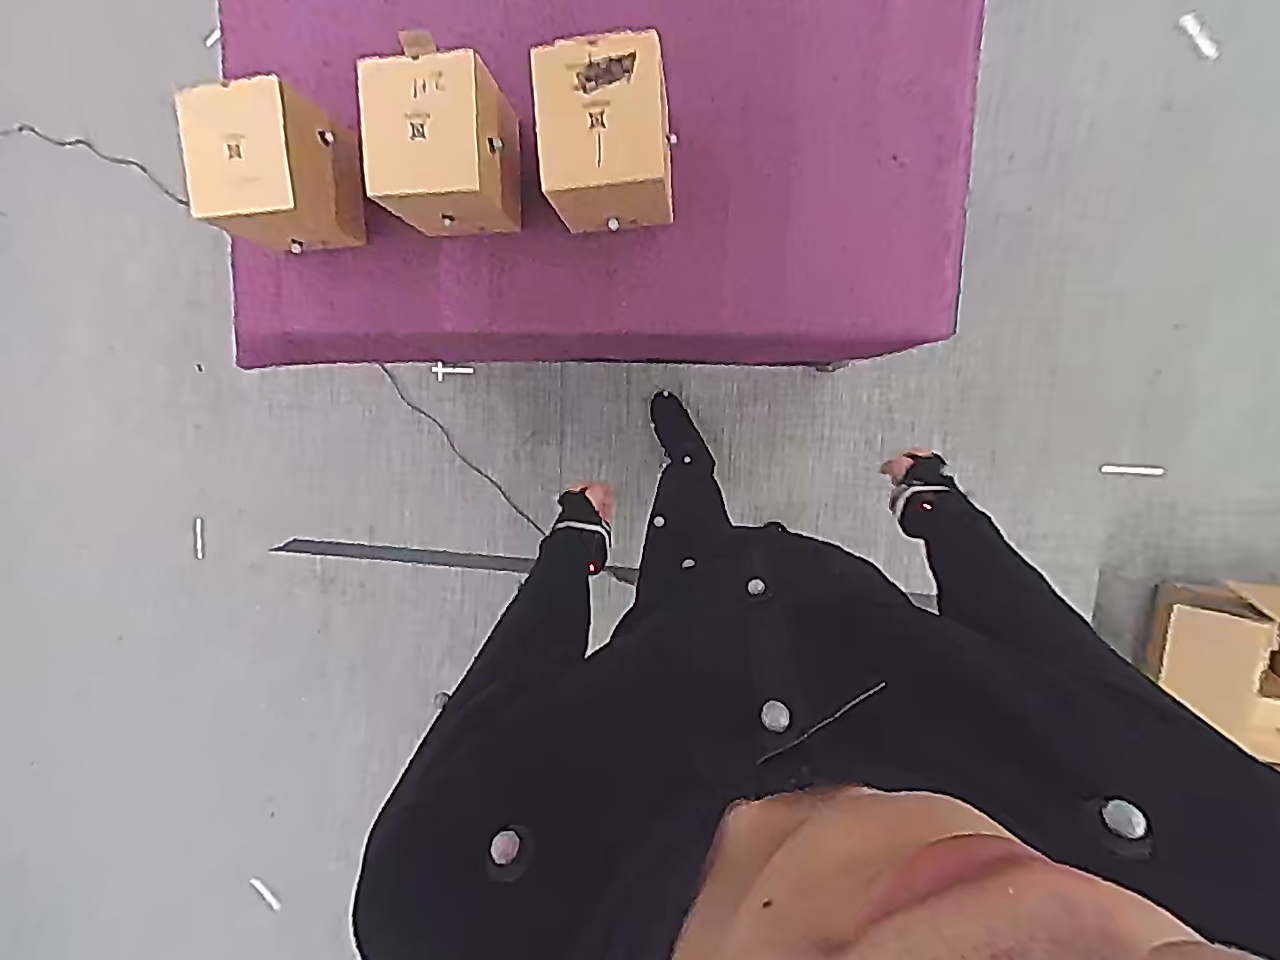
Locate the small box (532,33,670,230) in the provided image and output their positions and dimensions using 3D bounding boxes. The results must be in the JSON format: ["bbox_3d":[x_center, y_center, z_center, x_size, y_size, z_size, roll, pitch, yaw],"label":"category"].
[{"bbox_3d":[-0.046,-0.483,0.776,0.168,0.176,0.179,-3,96,8],"label":"small box"}]

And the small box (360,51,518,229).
[{"bbox_3d":[-0.287,-0.486,0.805,0.168,0.176,0.179,1,96,7],"label":"small box"}]

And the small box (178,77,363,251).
[{"bbox_3d":[-0.559,-0.476,0.839,0.168,0.176,0.179,-1,96,7],"label":"small box"}]
